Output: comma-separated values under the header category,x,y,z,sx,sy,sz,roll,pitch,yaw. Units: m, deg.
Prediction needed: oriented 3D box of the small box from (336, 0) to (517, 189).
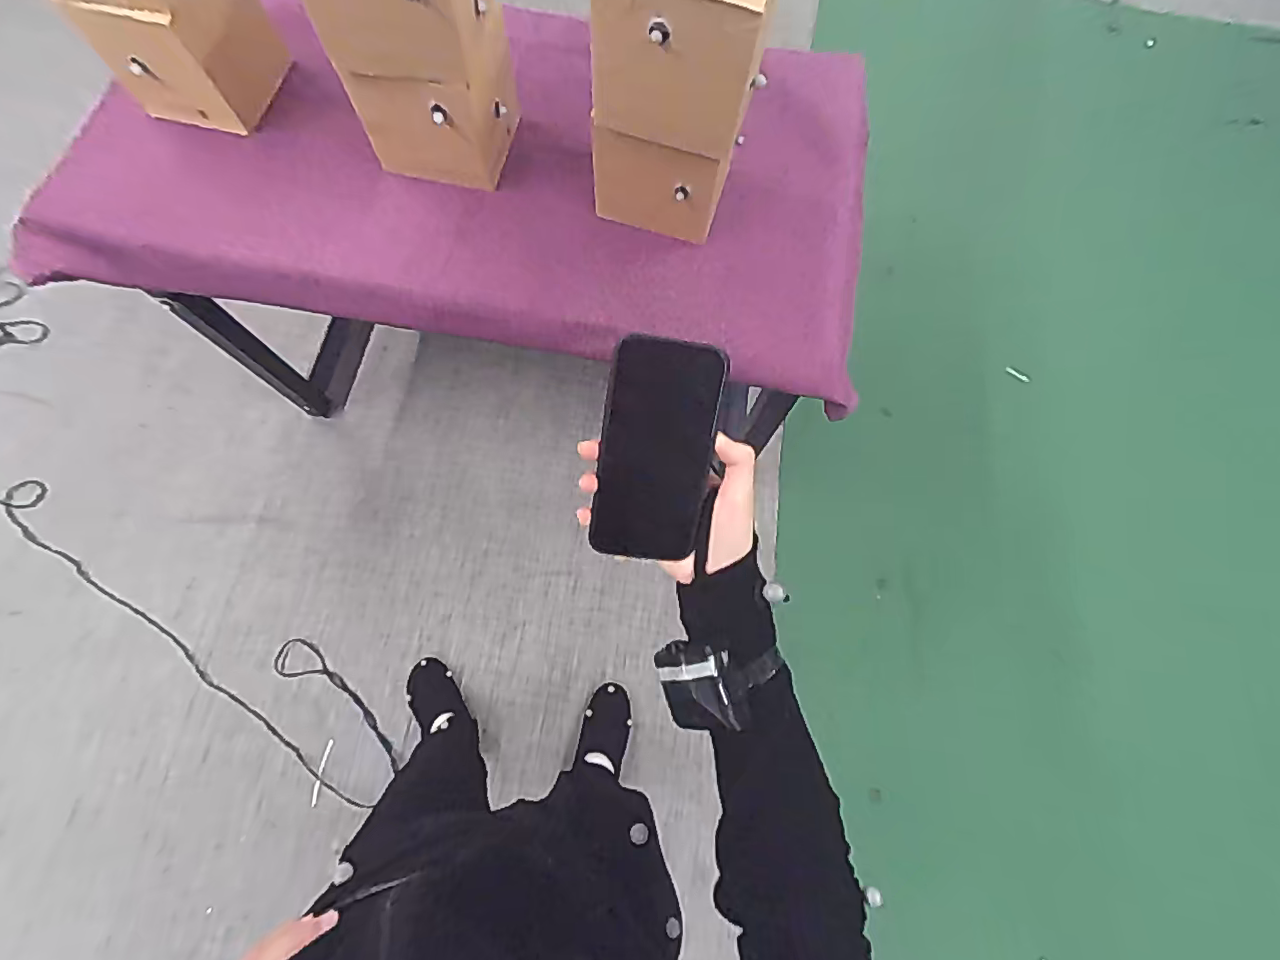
category,x,y,z,sx,sy,sz,roll,pitch,yaw
small box,-0.293,-0.561,0.789,0.179,0.176,0.168,11,72,2

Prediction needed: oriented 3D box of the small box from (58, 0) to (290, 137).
category,x,y,z,sx,sy,sz,roll,pitch,yaw
small box,-0.672,-0.656,0.808,0.168,0.176,0.179,12,72,2

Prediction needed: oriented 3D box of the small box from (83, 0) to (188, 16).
category,x,y,z,sx,sy,sz,roll,pitch,yaw
small box,-0.665,-0.714,0.654,0.168,0.176,0.179,7,73,0

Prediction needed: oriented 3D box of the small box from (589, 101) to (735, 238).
category,x,y,z,sx,sy,sz,roll,pitch,yaw
small box,0.039,-0.482,0.776,0.179,0.176,0.168,17,72,4

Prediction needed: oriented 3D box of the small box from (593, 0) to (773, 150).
category,x,y,z,sx,sy,sz,roll,pitch,yaw
small box,0.049,-0.517,0.615,0.179,0.176,0.168,17,72,3
